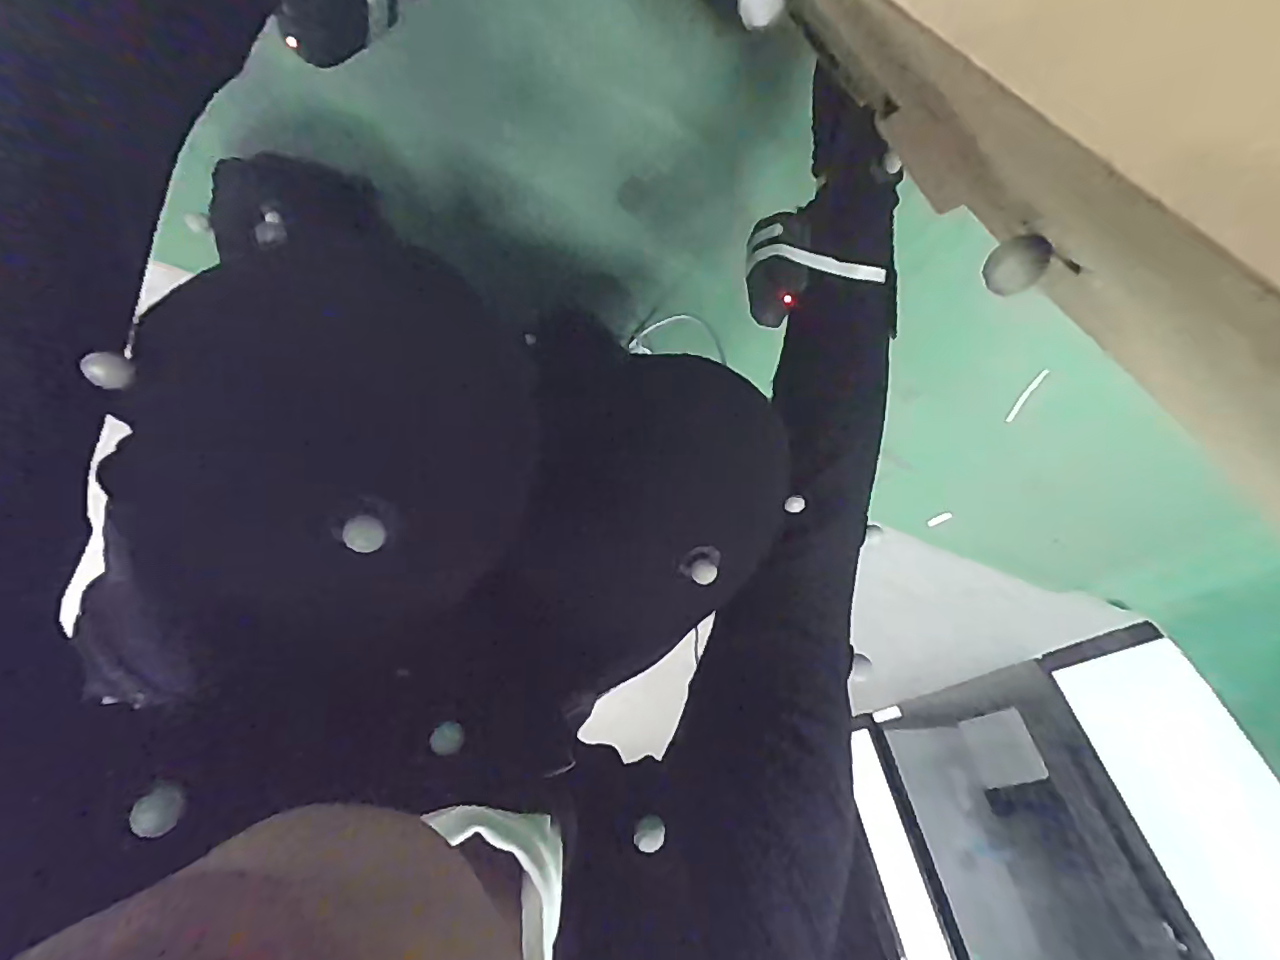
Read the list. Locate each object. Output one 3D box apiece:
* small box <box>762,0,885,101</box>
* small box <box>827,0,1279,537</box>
[{"bbox_3d":[0.105,-0.343,0.254,0.168,0.176,0.179,20,134,-36],"label":"small box"},{"bbox_3d":[0.158,-0.079,0.067,0.168,0.176,0.179,17,138,-36],"label":"small box"}]
